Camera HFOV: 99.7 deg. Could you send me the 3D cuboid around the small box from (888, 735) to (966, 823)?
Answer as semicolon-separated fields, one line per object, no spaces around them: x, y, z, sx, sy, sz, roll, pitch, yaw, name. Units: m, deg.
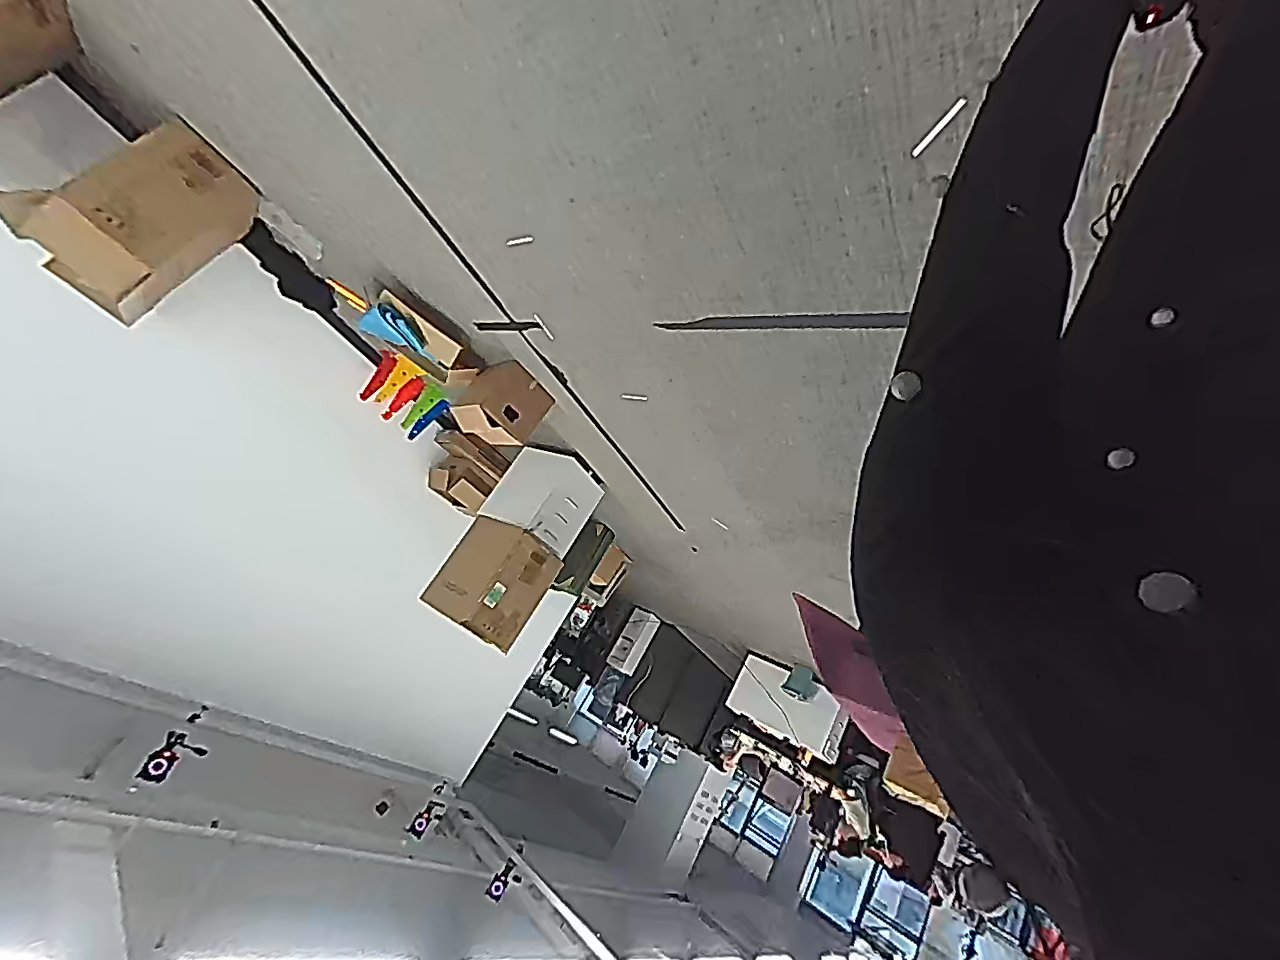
0.928;0.956;1.738;0.168;0.176;0.179;9;149;46;small box
